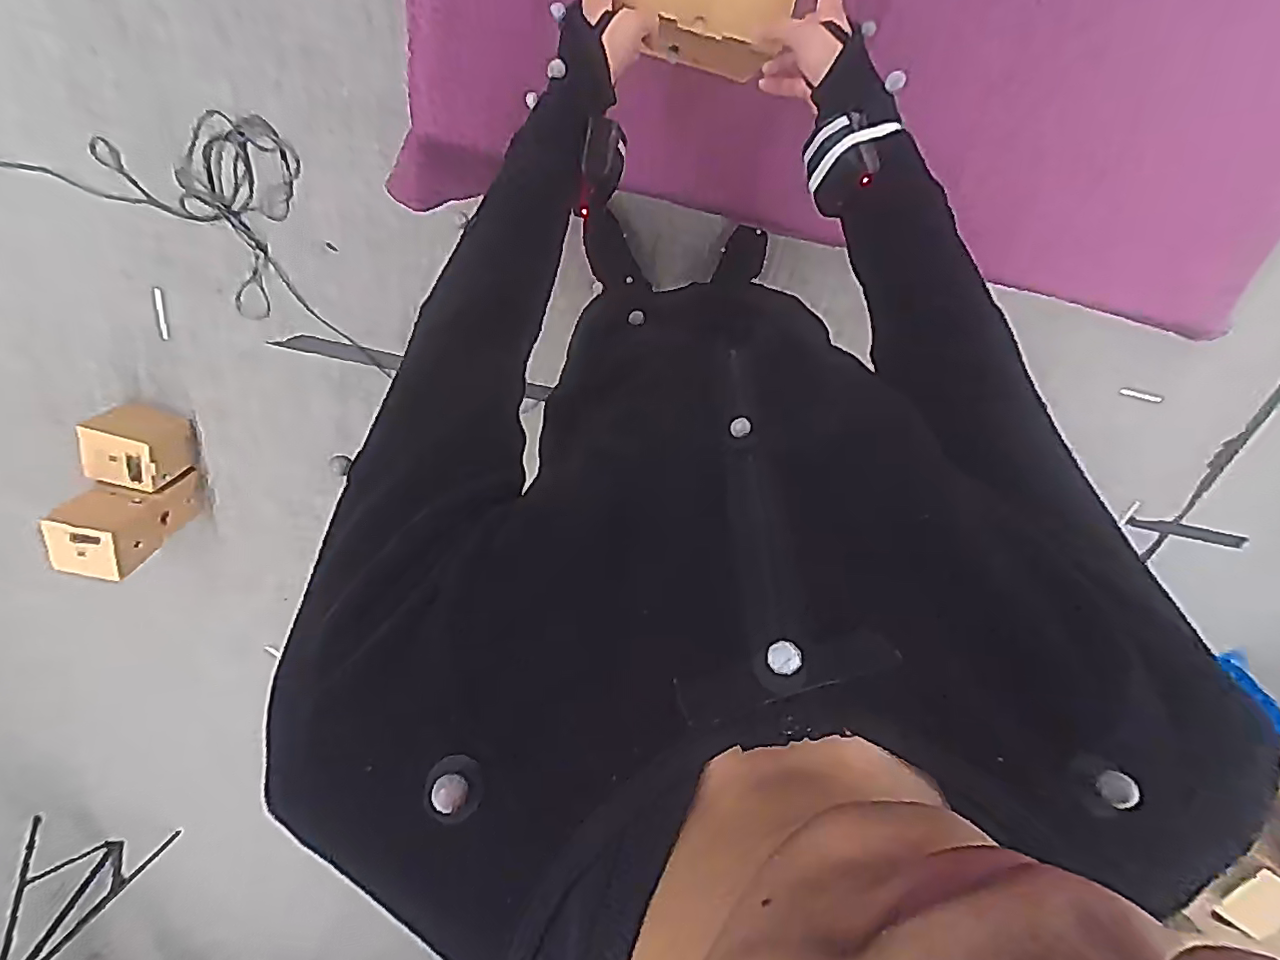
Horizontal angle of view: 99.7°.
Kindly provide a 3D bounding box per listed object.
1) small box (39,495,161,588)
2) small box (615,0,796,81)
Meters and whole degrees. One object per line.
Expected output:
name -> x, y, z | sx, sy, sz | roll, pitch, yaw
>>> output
small box -> -1.481, 0.164, 1.495 | 0.168, 0.176, 0.179 | 15, 119, -11
small box -> 0.069, -0.532, 0.539 | 0.168, 0.176, 0.179 | 10, 119, -9
